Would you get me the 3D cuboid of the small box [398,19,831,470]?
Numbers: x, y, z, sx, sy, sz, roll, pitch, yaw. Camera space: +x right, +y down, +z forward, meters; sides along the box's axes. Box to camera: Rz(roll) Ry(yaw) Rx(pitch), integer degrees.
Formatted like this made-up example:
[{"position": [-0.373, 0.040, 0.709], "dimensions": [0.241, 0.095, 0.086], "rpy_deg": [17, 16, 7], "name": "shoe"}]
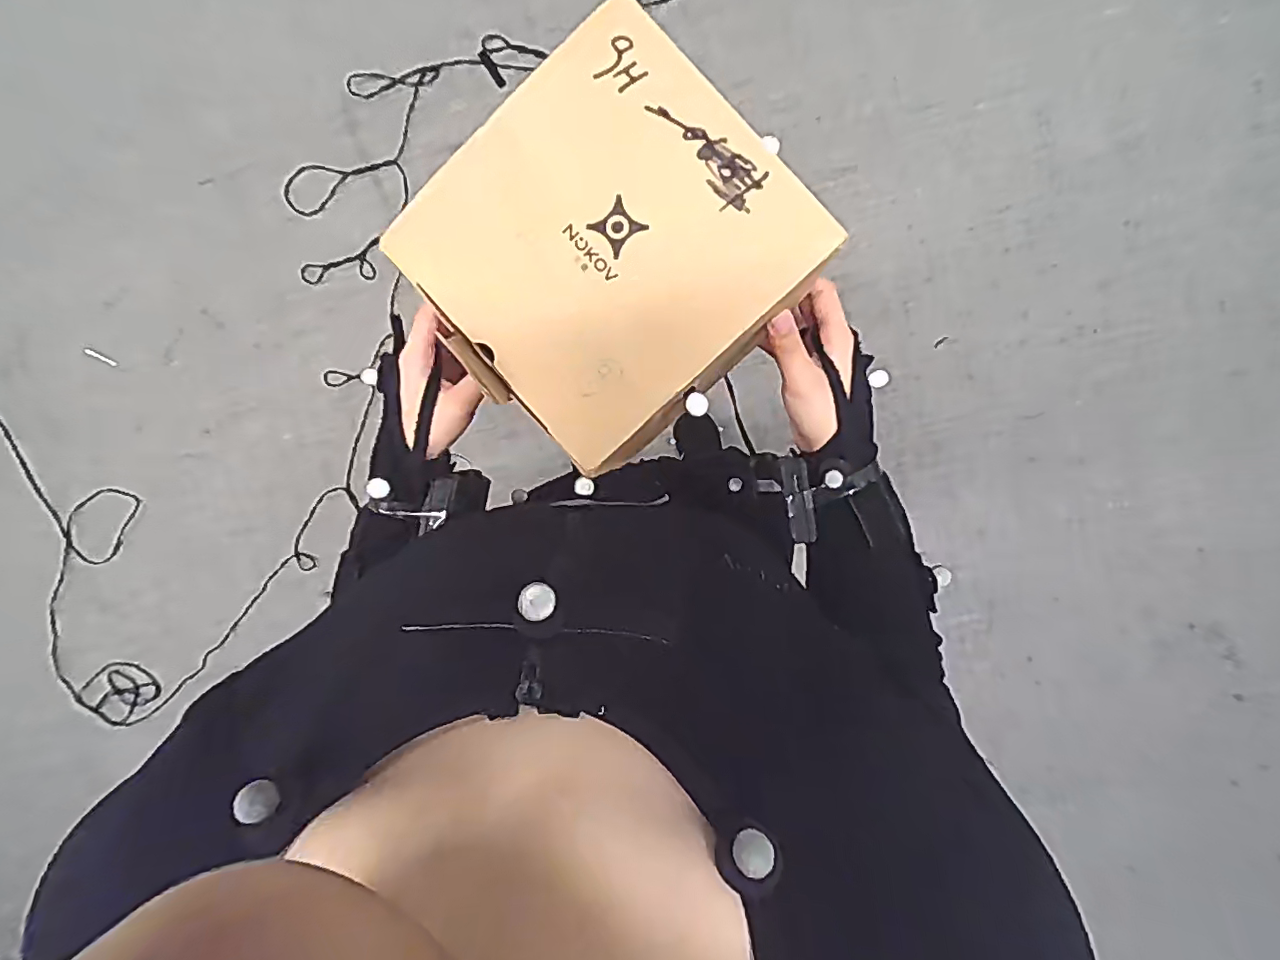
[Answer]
[{"position": [-0.010, -0.124, 0.363], "dimensions": [0.179, 0.176, 0.168], "rpy_deg": [-43, 90, 6], "name": "small box"}]
